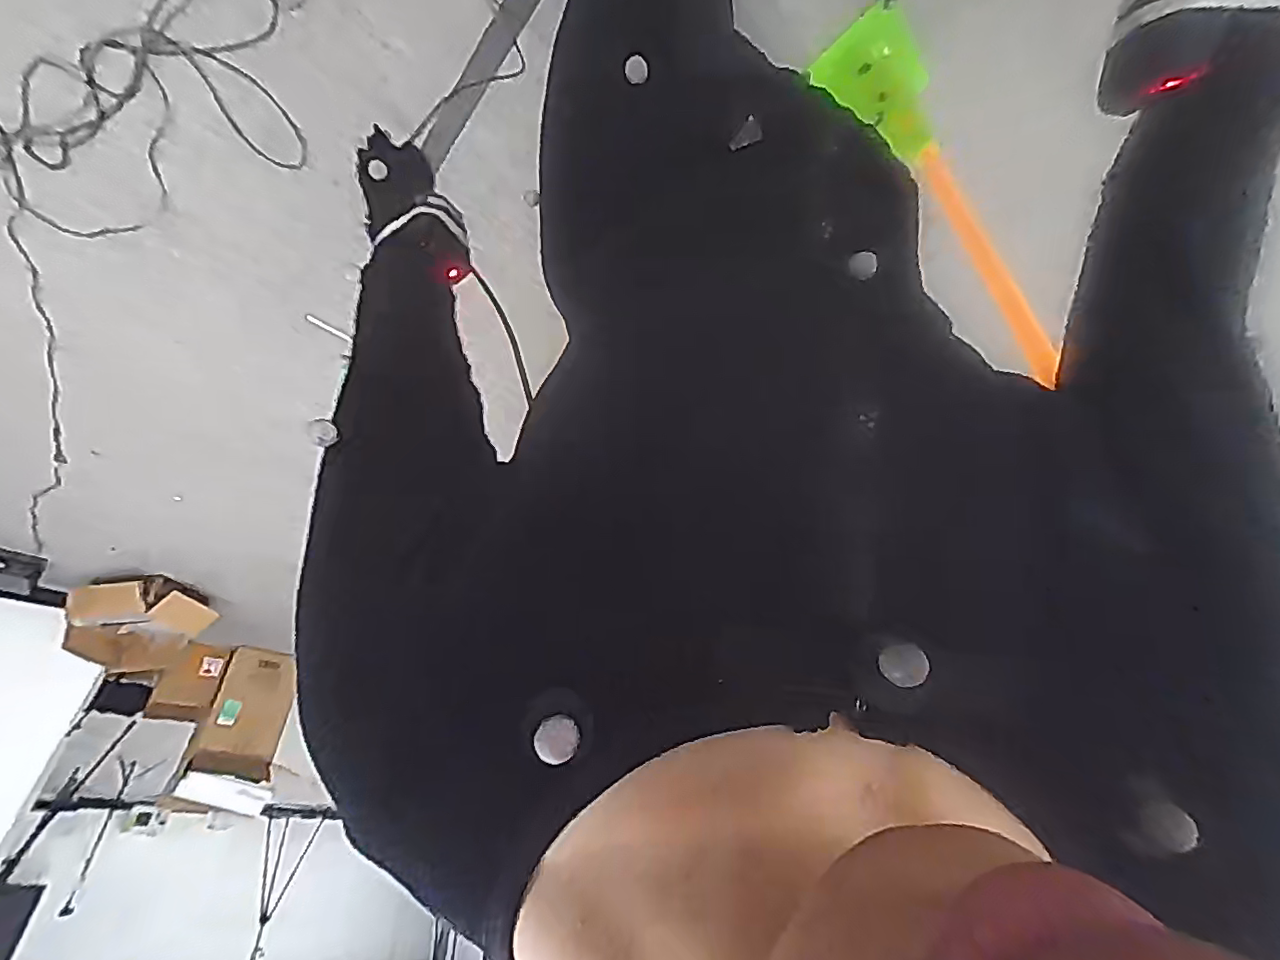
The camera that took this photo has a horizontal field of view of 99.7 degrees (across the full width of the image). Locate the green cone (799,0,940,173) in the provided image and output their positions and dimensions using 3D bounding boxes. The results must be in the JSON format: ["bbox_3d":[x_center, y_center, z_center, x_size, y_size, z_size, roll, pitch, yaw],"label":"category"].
[{"bbox_3d":[0.456,-0.666,0.989,0.200,0.368,0.202,-31,135,33],"label":"green cone"}]
